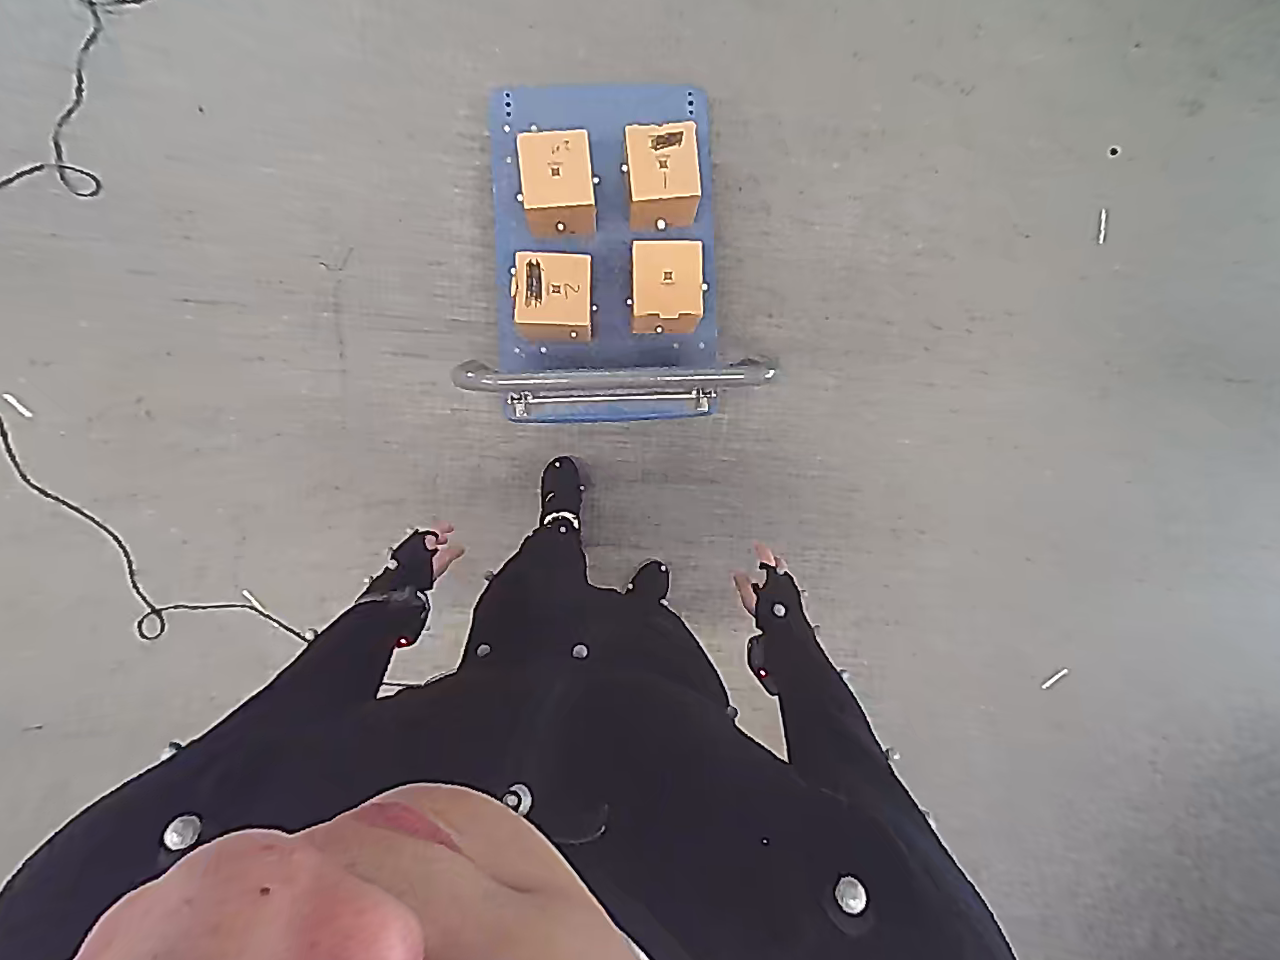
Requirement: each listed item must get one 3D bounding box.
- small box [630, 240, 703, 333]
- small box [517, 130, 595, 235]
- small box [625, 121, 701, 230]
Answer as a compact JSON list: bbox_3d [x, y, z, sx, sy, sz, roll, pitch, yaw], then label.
[{"bbox_3d":[0.062,-0.477,1.349,0.168,0.176,0.179,-1,92,-3],"label":"small box"},{"bbox_3d":[-0.200,-0.720,1.329,0.168,0.176,0.179,-5,92,-4],"label":"small box"},{"bbox_3d":[0.052,-0.747,1.340,0.168,0.176,0.179,-6,93,-2],"label":"small box"}]
